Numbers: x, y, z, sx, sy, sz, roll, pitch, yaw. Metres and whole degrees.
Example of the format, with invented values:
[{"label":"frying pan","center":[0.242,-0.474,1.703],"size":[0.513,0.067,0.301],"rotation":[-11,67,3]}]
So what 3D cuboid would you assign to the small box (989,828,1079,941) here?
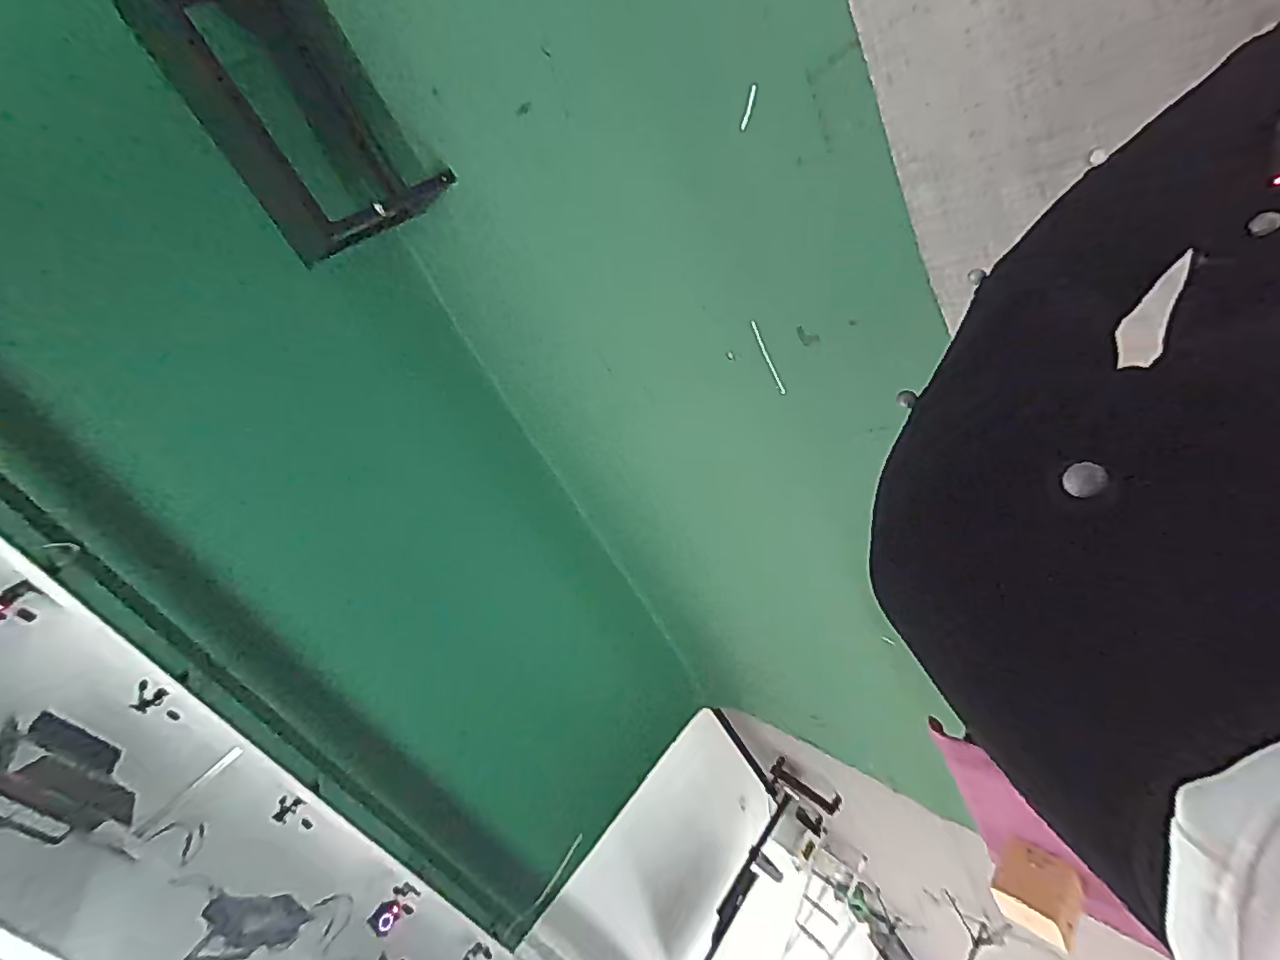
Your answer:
[{"label":"small box","center":[1.162,1.180,1.589],"size":[0.168,0.176,0.179],"rotation":[2,130,53]}]

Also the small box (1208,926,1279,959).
[{"label":"small box","center":[1.424,1.189,1.235],"size":[0.168,0.176,0.179],"rotation":[2,129,55]}]
